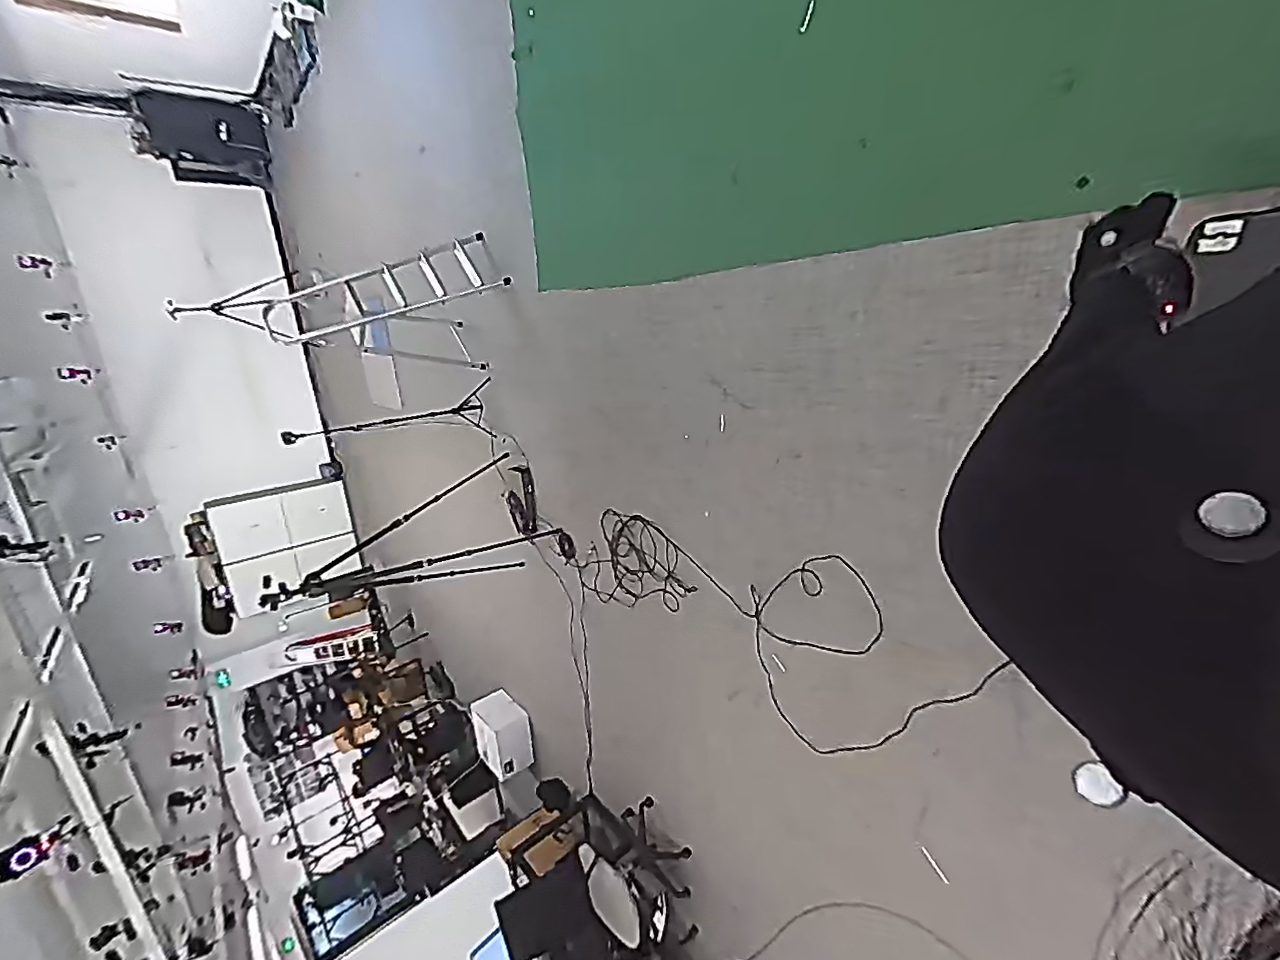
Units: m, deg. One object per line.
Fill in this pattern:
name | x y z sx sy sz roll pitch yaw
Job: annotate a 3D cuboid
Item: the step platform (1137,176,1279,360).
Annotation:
step platform | 1.173 -0.322 0.755 0.684 0.204 0.286 15 116 49
